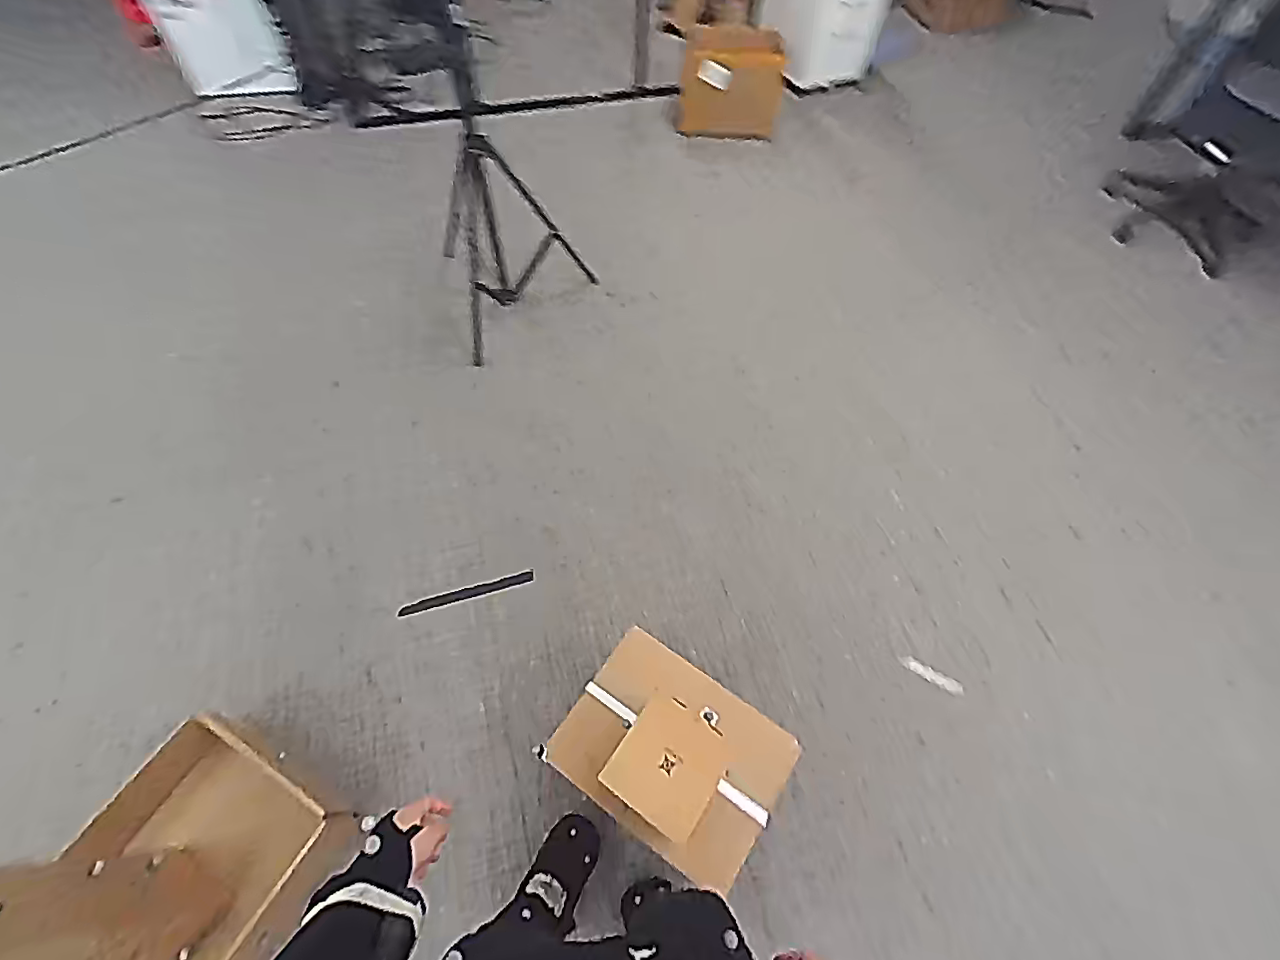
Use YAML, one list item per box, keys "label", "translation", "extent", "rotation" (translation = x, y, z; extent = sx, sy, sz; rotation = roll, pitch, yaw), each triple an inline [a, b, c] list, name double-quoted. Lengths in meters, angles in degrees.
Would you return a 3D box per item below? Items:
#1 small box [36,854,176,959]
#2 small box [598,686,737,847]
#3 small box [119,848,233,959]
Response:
- label: "small box"
  translation: [-0.928, 0.741, 0.875]
  extent: [0.179, 0.176, 0.168]
  rotation: [29, 64, 14]
- label: "small box"
  translation: [0.045, 0.497, 0.945]
  extent: [0.168, 0.176, 0.179]
  rotation: [33, 63, 15]
- label: "small box"
  translation: [-0.932, 0.825, 1.014]
  extent: [0.179, 0.176, 0.168]
  rotation: [31, 64, 15]
